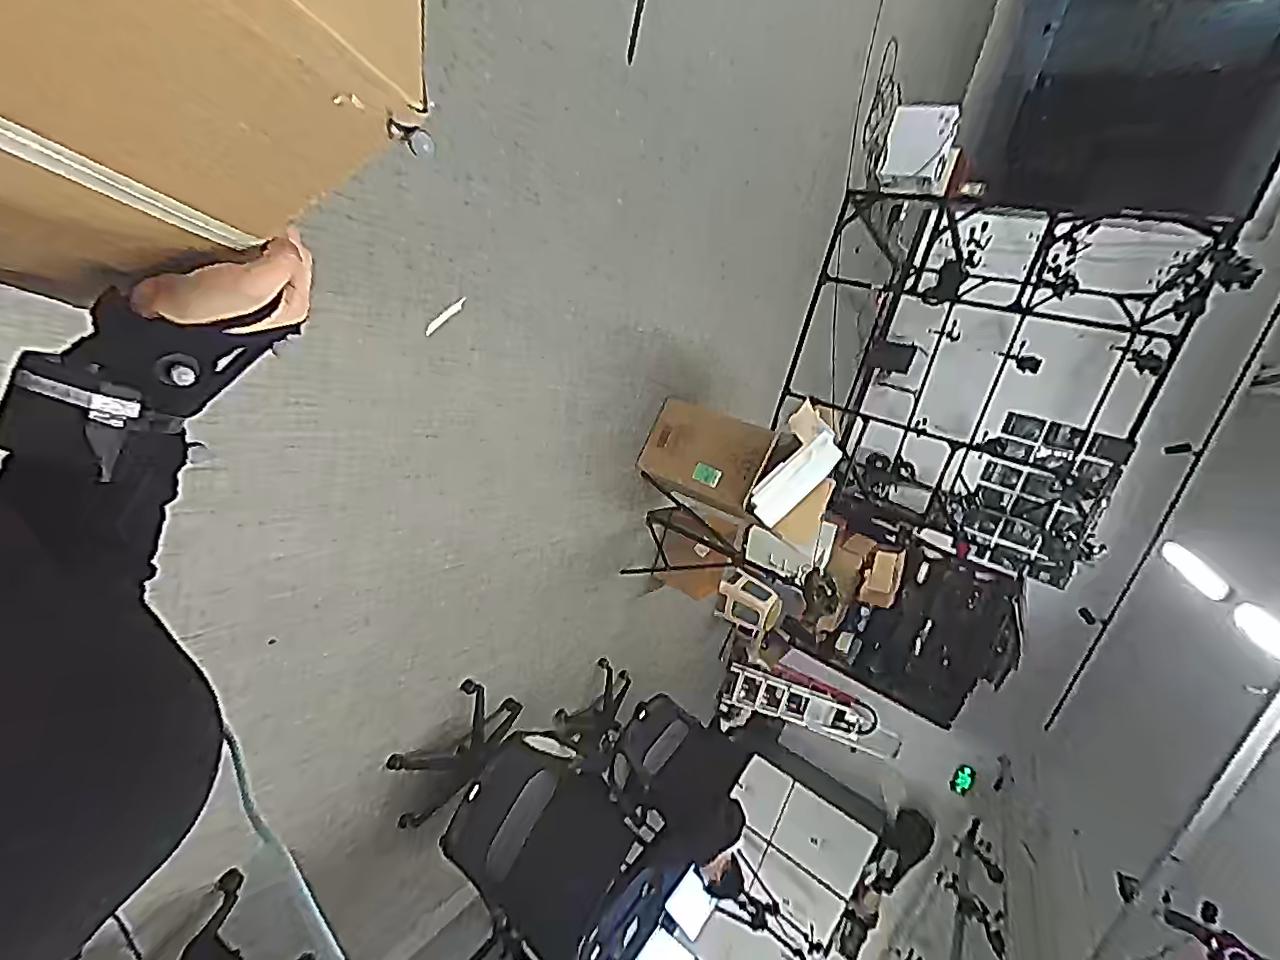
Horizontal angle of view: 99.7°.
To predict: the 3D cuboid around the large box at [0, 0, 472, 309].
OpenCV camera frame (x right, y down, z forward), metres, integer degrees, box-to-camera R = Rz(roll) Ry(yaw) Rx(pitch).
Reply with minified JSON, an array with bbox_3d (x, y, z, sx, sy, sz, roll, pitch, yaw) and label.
[{"bbox_3d":[-0.330,-0.330,0.199,0.408,0.320,0.320,14,67,-58],"label":"large box"}]
